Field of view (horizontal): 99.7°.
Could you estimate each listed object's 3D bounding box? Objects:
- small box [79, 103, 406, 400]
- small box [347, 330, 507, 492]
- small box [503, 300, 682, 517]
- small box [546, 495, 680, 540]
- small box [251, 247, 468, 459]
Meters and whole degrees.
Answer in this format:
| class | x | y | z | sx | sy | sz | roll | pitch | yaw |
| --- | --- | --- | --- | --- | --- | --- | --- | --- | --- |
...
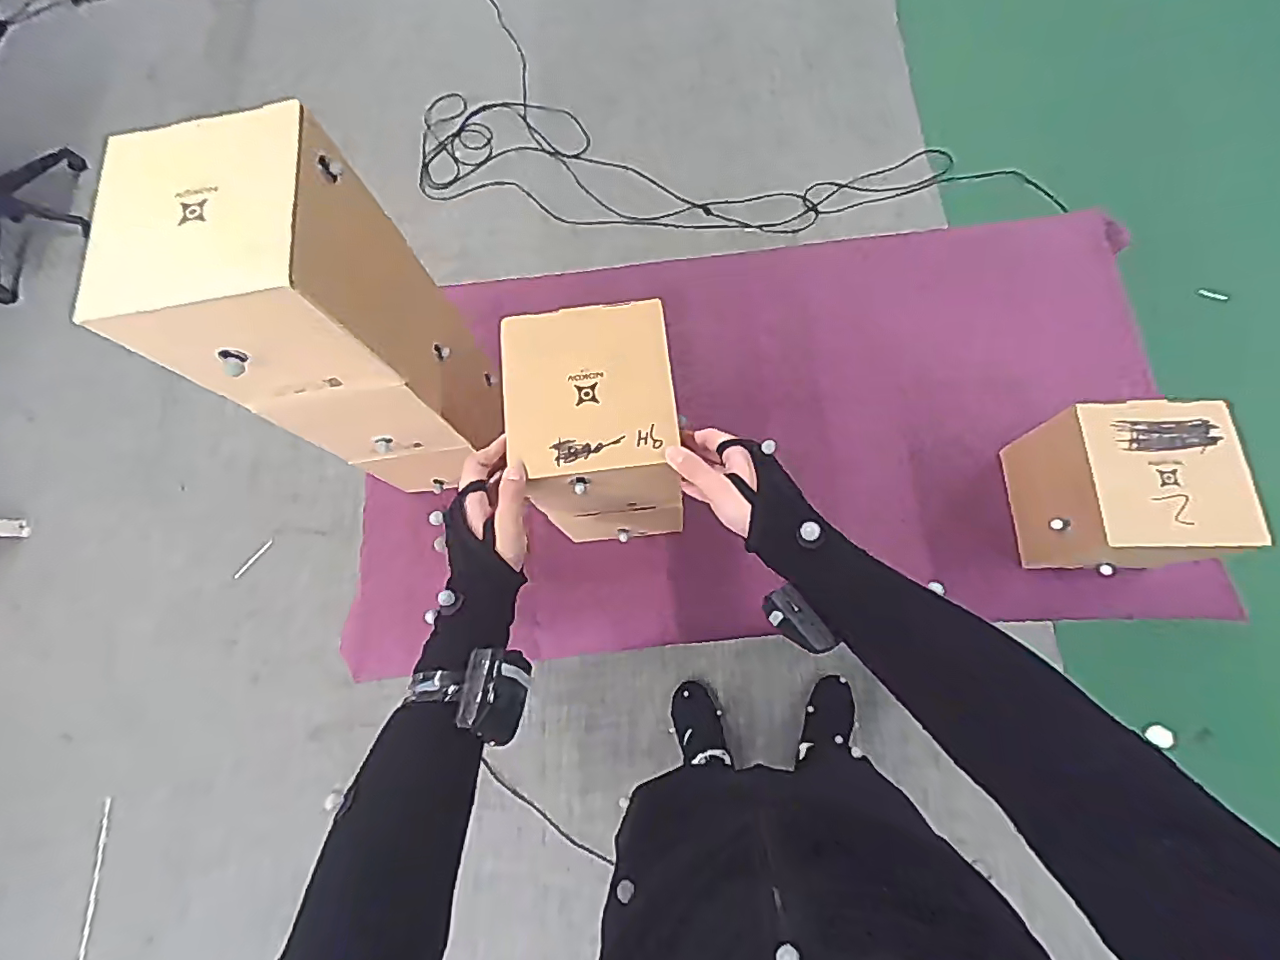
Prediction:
| class | x | y | z | sx | sy | sz | roll | pitch | yaw |
| --- | --- | --- | --- | --- | --- | --- | --- | --- | --- |
| small box | -0.329 | -0.184 | 0.487 | 0.168 | 0.176 | 0.179 | -8 | 73 | 3 |
| small box | -0.302 | -0.094 | 0.799 | 0.168 | 0.176 | 0.179 | -7 | 74 | 3 |
| small box | -0.046 | -0.068 | 0.598 | 0.168 | 0.176 | 0.179 | -7 | 74 | 3 |
| small box | -0.034 | -0.022 | 0.755 | 0.168 | 0.176 | 0.179 | -6 | 74 | 3 |
| small box | -0.315 | -0.140 | 0.642 | 0.168 | 0.176 | 0.179 | -8 | 74 | 3 |
